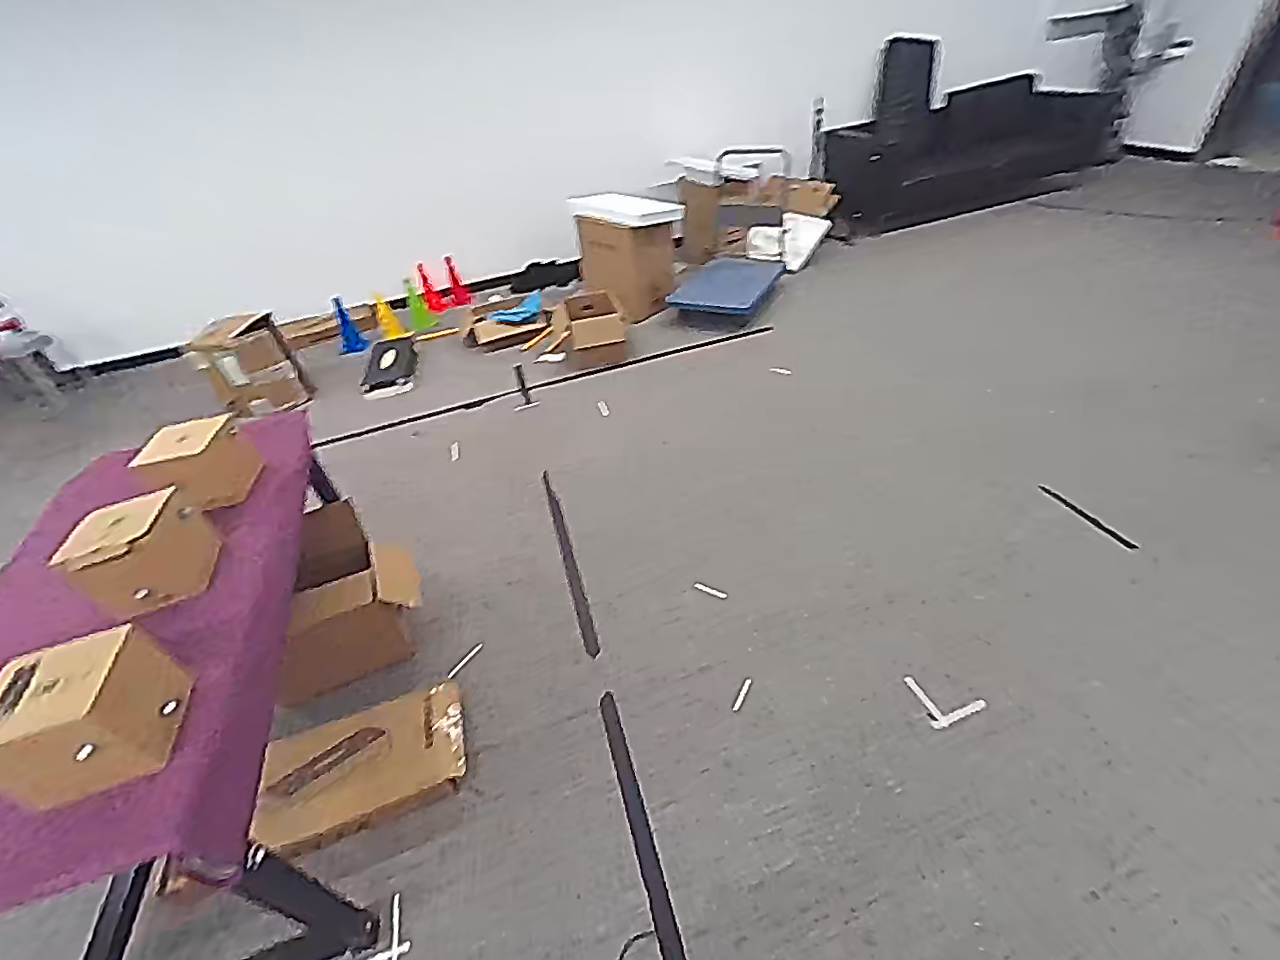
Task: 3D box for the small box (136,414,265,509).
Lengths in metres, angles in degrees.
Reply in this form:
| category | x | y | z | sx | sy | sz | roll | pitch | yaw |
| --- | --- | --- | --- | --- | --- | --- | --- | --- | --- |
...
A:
| category | x | y | z | sx | sy | sz | roll | pitch | yaw |
| --- | --- | --- | --- | --- | --- | --- | --- | --- | --- |
| small box | -1.099 | -0.040 | 1.372 | 0.168 | 0.176 | 0.179 | -13 | 39 | -5 |

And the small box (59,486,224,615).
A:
| category | x | y | z | sx | sy | sz | roll | pitch | yaw |
| --- | --- | --- | --- | --- | --- | --- | --- | --- | --- |
| small box | -1.017 | 0.147 | 1.128 | 0.168 | 0.176 | 0.179 | -19 | 40 | -9 |
